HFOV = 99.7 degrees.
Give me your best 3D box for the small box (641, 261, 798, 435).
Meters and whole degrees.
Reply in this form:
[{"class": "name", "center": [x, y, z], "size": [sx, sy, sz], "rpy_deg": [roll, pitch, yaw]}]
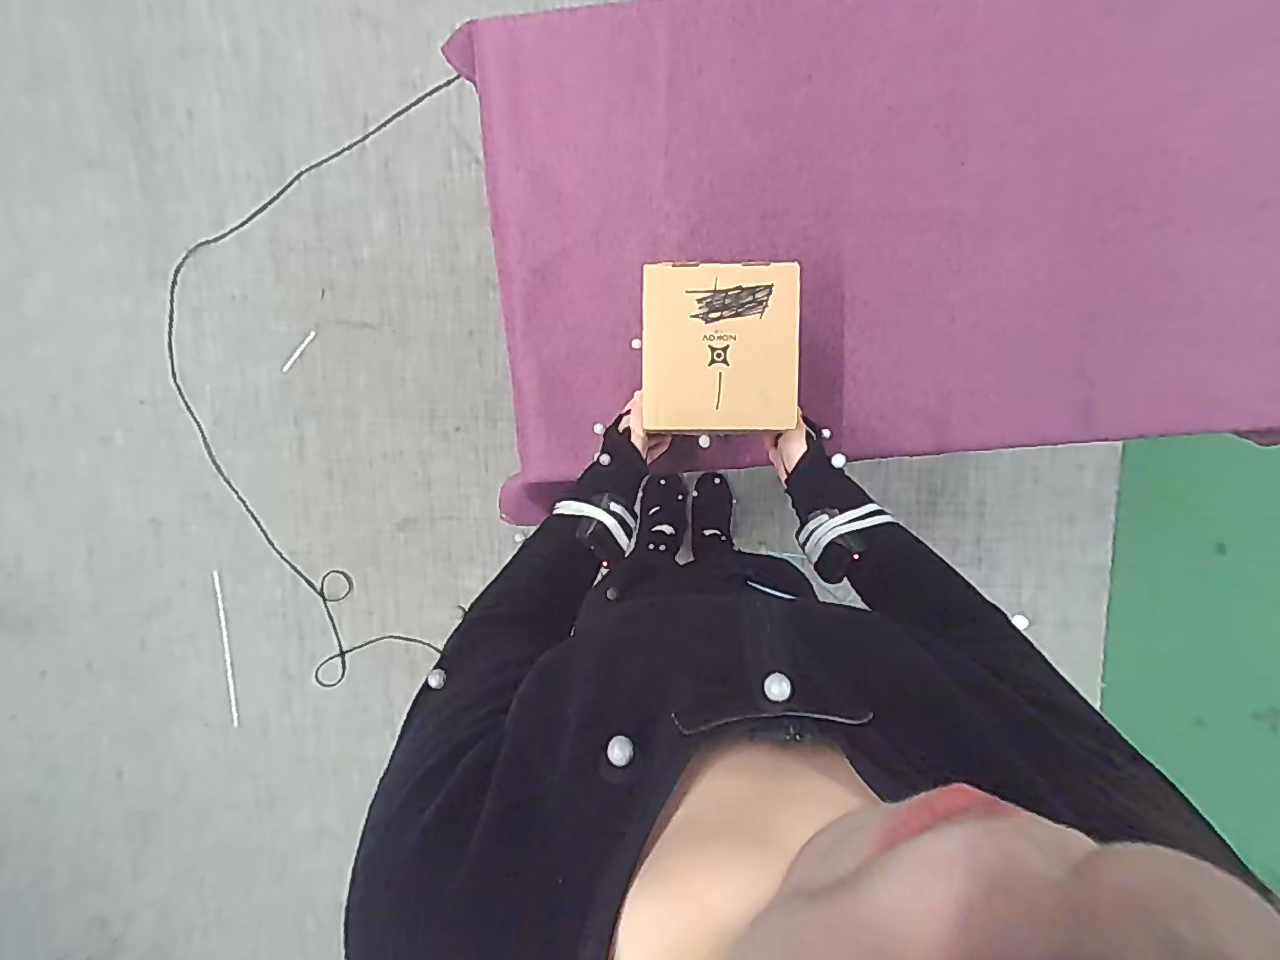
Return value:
[{"class": "small box", "center": [0.087, -0.146, 0.652], "size": [0.168, 0.176, 0.179], "rpy_deg": [0, 93, 3]}]
